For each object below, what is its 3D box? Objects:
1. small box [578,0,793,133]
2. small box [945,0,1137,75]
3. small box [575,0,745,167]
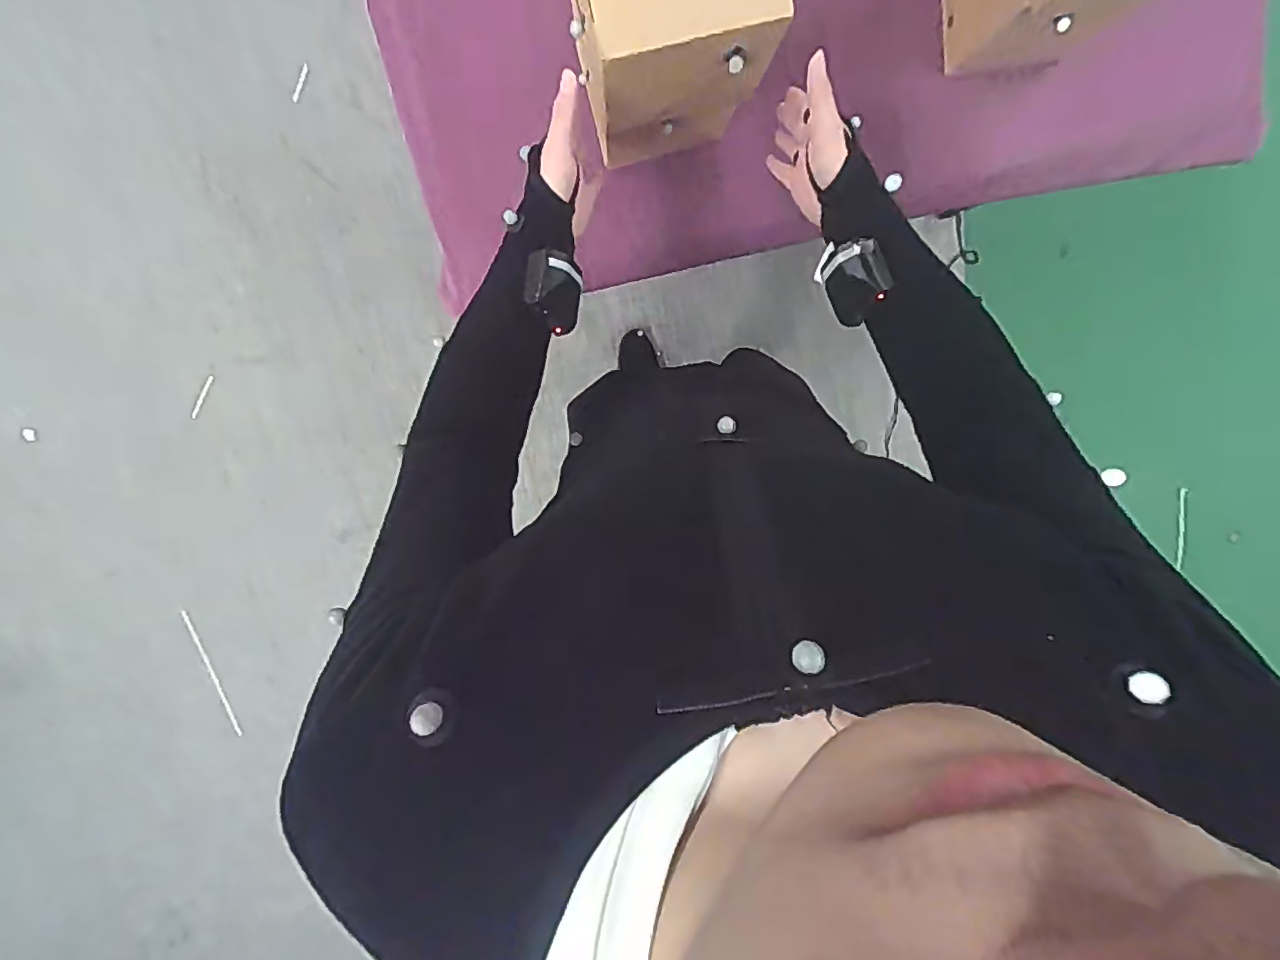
[{"bbox_3d":[0.031,-0.477,0.532,0.179,0.176,0.168,-12,103,1],"label":"small box"},{"bbox_3d":[0.505,-0.645,0.674,0.179,0.176,0.168,-10,104,0],"label":"small box"},{"bbox_3d":[0.020,-0.530,0.690,0.179,0.176,0.168,-14,104,2],"label":"small box"}]
